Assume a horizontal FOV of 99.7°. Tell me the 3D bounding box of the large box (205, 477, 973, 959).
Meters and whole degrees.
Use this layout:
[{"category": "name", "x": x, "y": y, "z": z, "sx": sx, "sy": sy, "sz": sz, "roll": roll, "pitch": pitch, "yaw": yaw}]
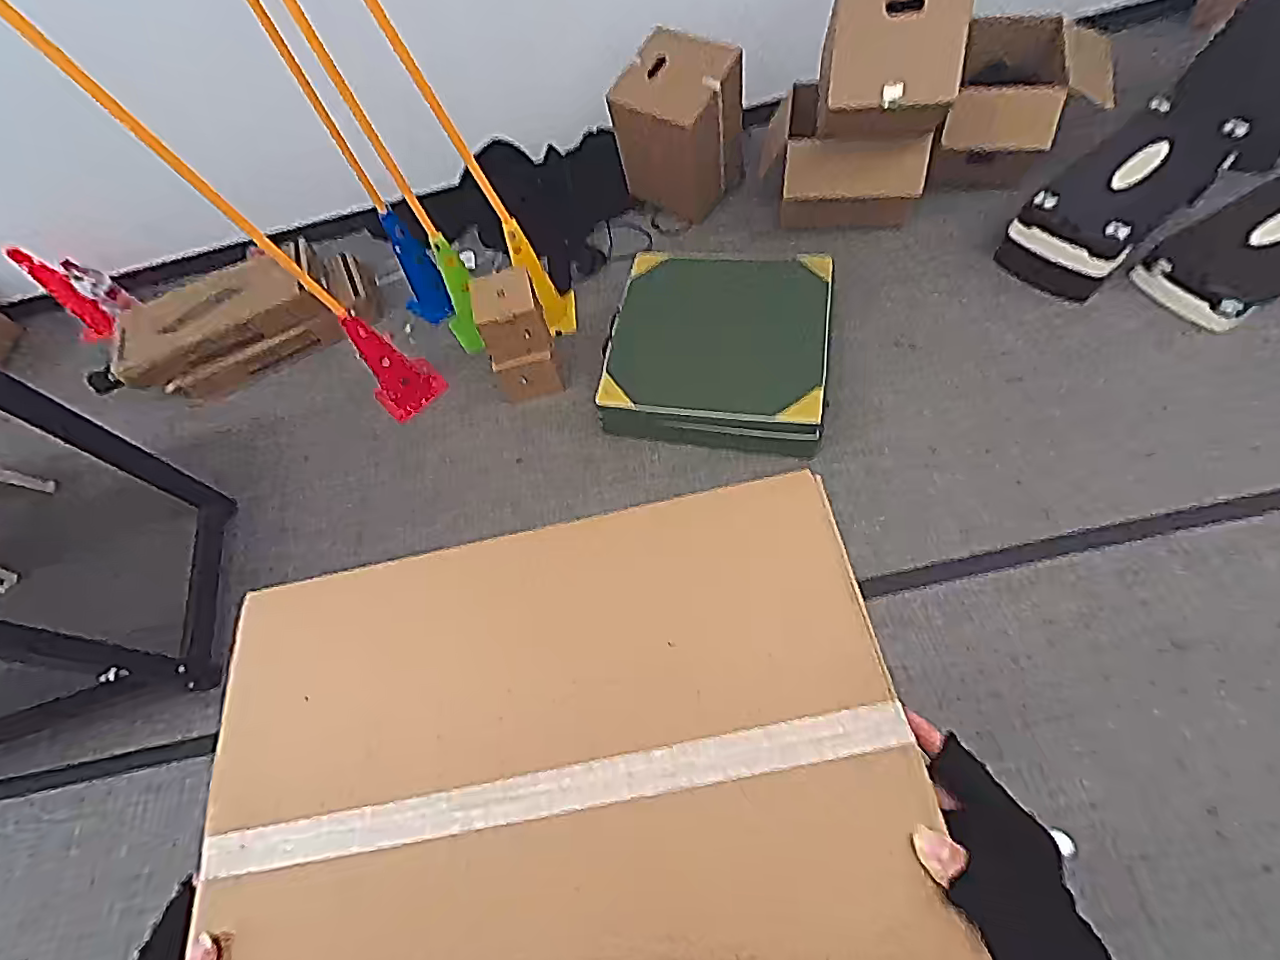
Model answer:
[{"category": "large box", "x": -0.032, "y": 0.236, "z": 0.448, "sx": 0.408, "sy": 0.320, "sz": 0.320, "roll": -13, "pitch": 63, "yaw": 3}]
